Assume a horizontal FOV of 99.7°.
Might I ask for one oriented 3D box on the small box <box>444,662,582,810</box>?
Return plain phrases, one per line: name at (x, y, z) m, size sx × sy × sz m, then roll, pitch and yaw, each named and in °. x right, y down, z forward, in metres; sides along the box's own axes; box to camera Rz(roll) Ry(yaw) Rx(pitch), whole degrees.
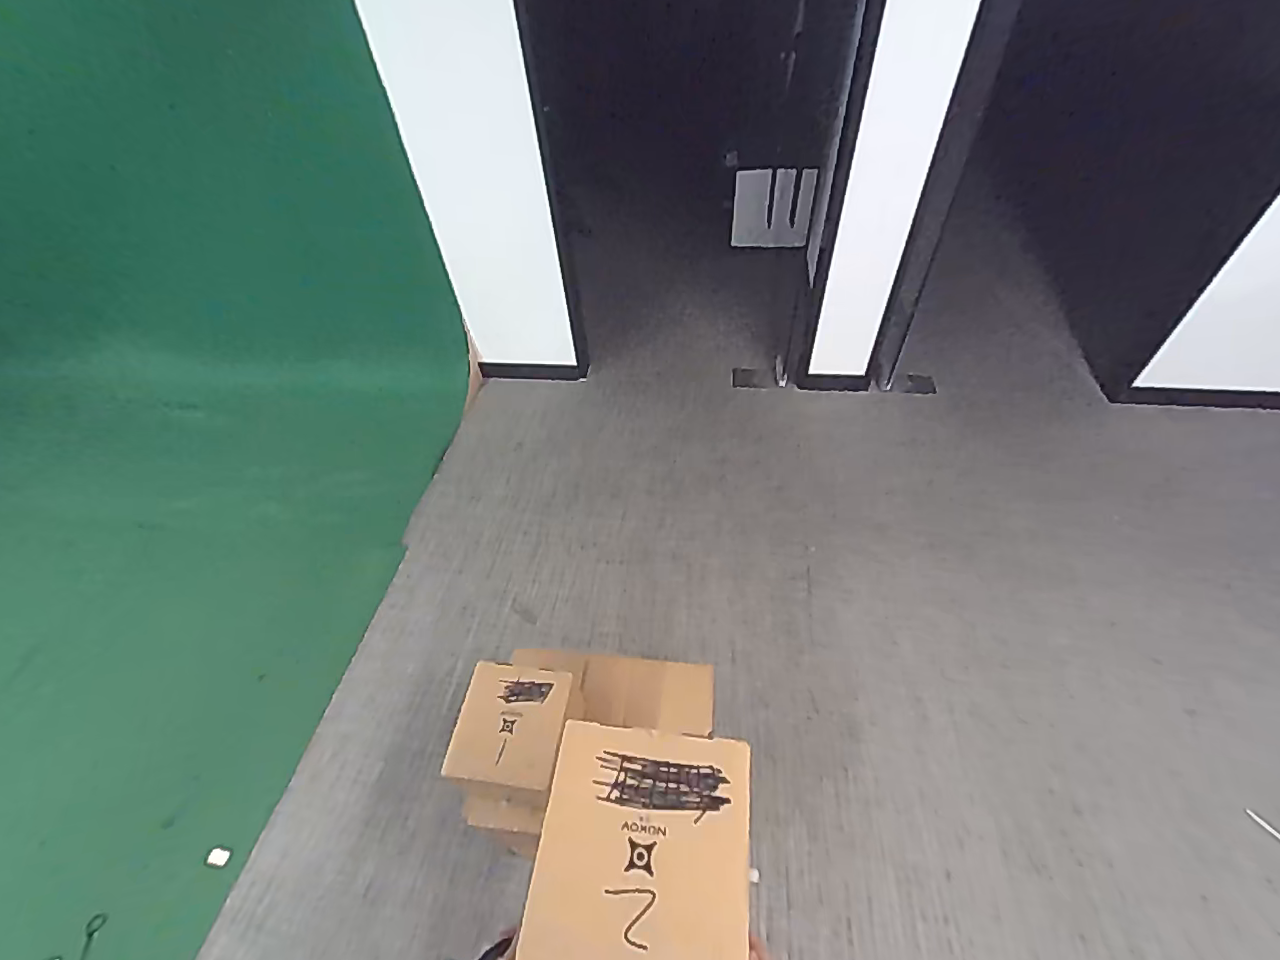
small box at (-0.198, 0.429, 0.907) m, size 0.168 × 0.176 × 0.179 m, roll 5°, pitch 52°, yaw 8°
